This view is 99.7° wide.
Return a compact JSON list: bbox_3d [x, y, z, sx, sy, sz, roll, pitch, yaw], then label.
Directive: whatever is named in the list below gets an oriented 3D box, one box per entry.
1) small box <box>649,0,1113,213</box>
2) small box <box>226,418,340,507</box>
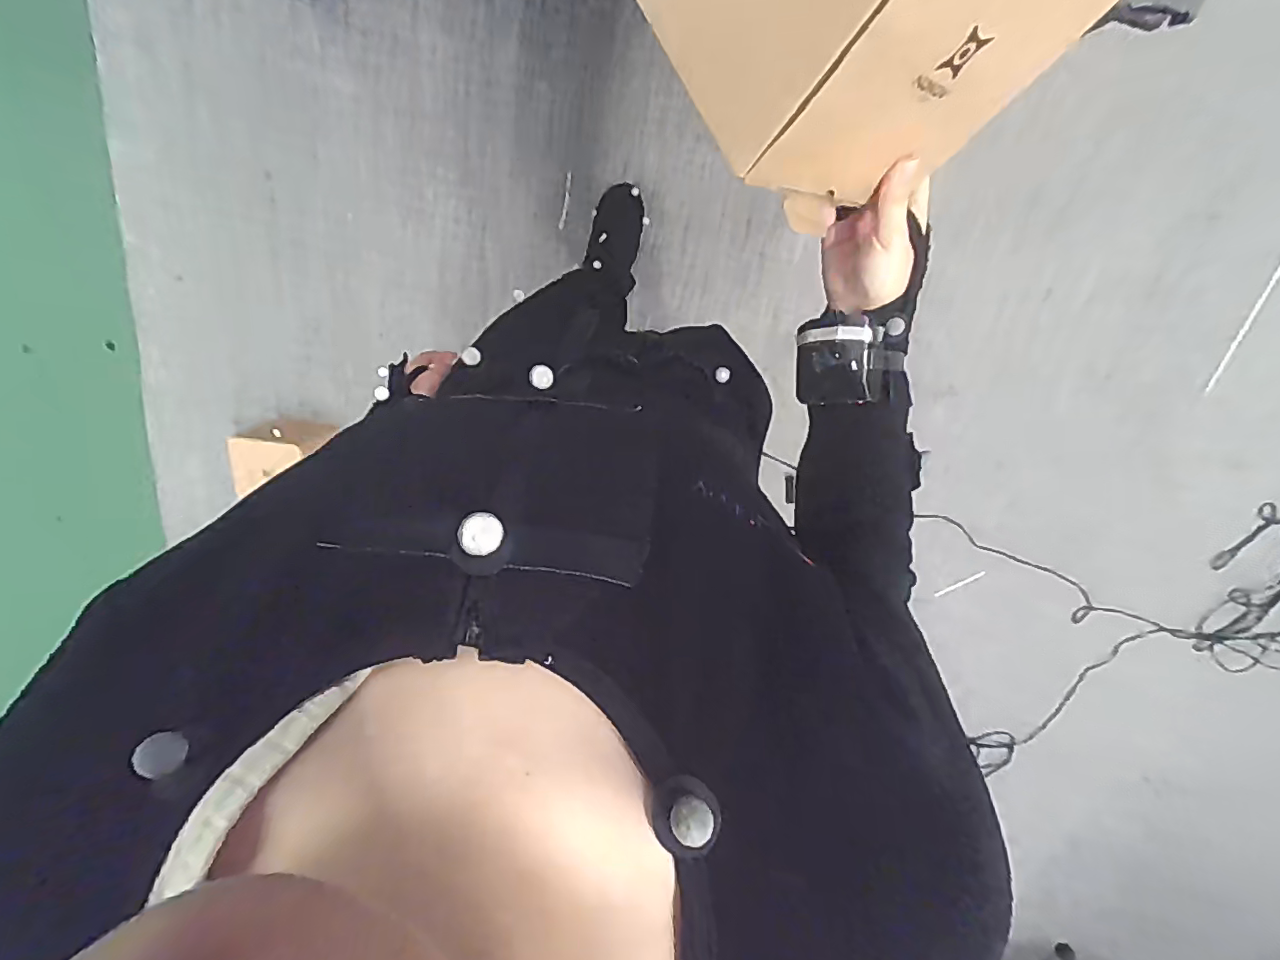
[{"bbox_3d":[0.123,-0.288,0.302,0.179,0.168,0.176,-38,72,50],"label":"small box"},{"bbox_3d":[-0.871,-0.049,1.344,0.179,0.176,0.168,7,111,1],"label":"small box"}]
